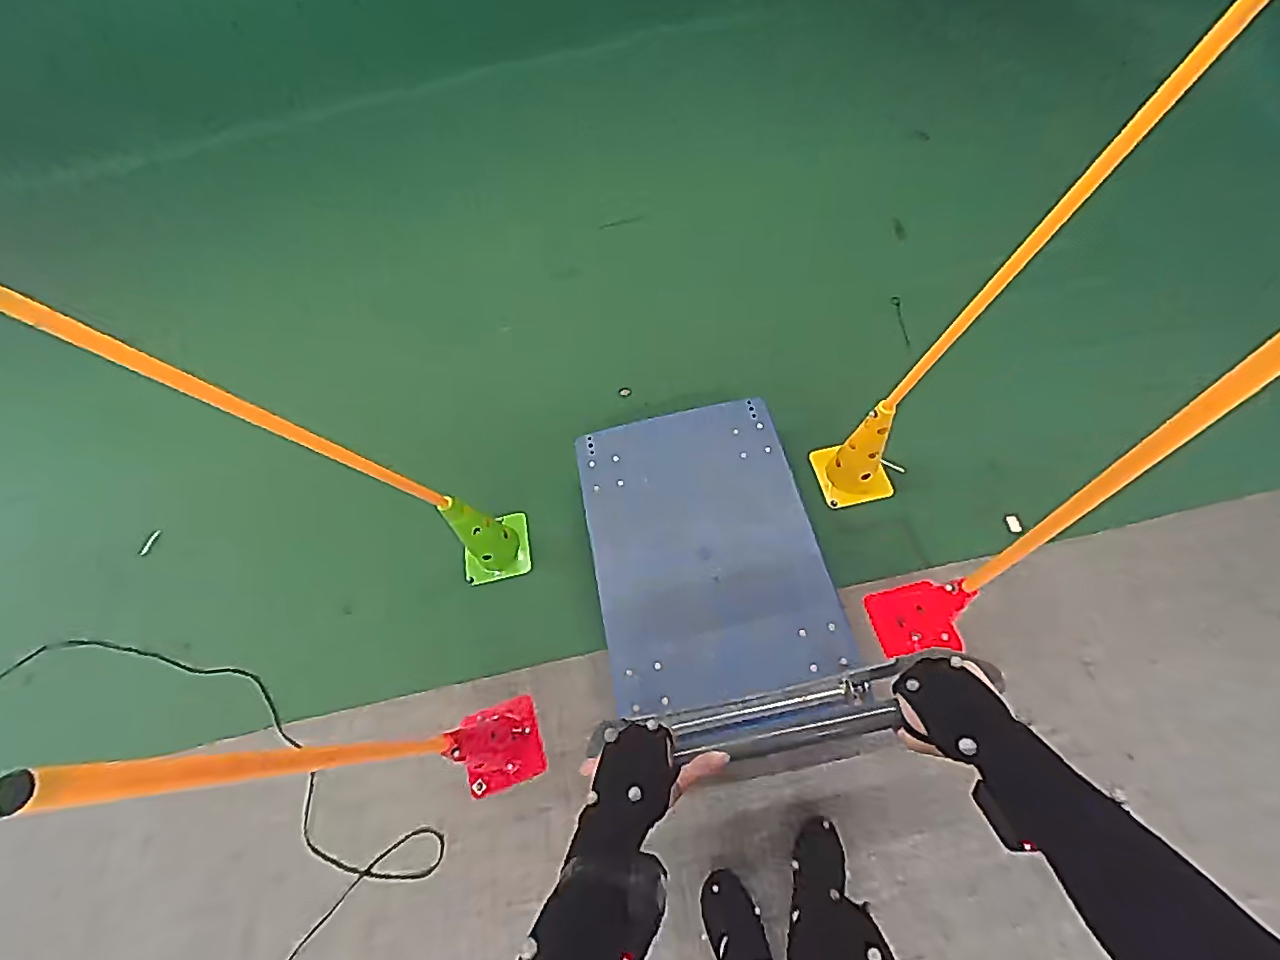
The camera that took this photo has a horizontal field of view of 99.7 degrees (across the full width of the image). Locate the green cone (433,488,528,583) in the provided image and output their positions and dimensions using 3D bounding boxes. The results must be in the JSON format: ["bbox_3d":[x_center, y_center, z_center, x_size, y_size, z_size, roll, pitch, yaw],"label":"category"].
[{"bbox_3d":[-0.461,0.122,1.479,0.200,0.368,0.202,-14,62,1],"label":"green cone"}]

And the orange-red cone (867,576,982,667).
[{"bbox_3d":[0.695,0.293,1.254,0.198,0.360,0.199,-13,61,0],"label":"orange-red cone"}]
